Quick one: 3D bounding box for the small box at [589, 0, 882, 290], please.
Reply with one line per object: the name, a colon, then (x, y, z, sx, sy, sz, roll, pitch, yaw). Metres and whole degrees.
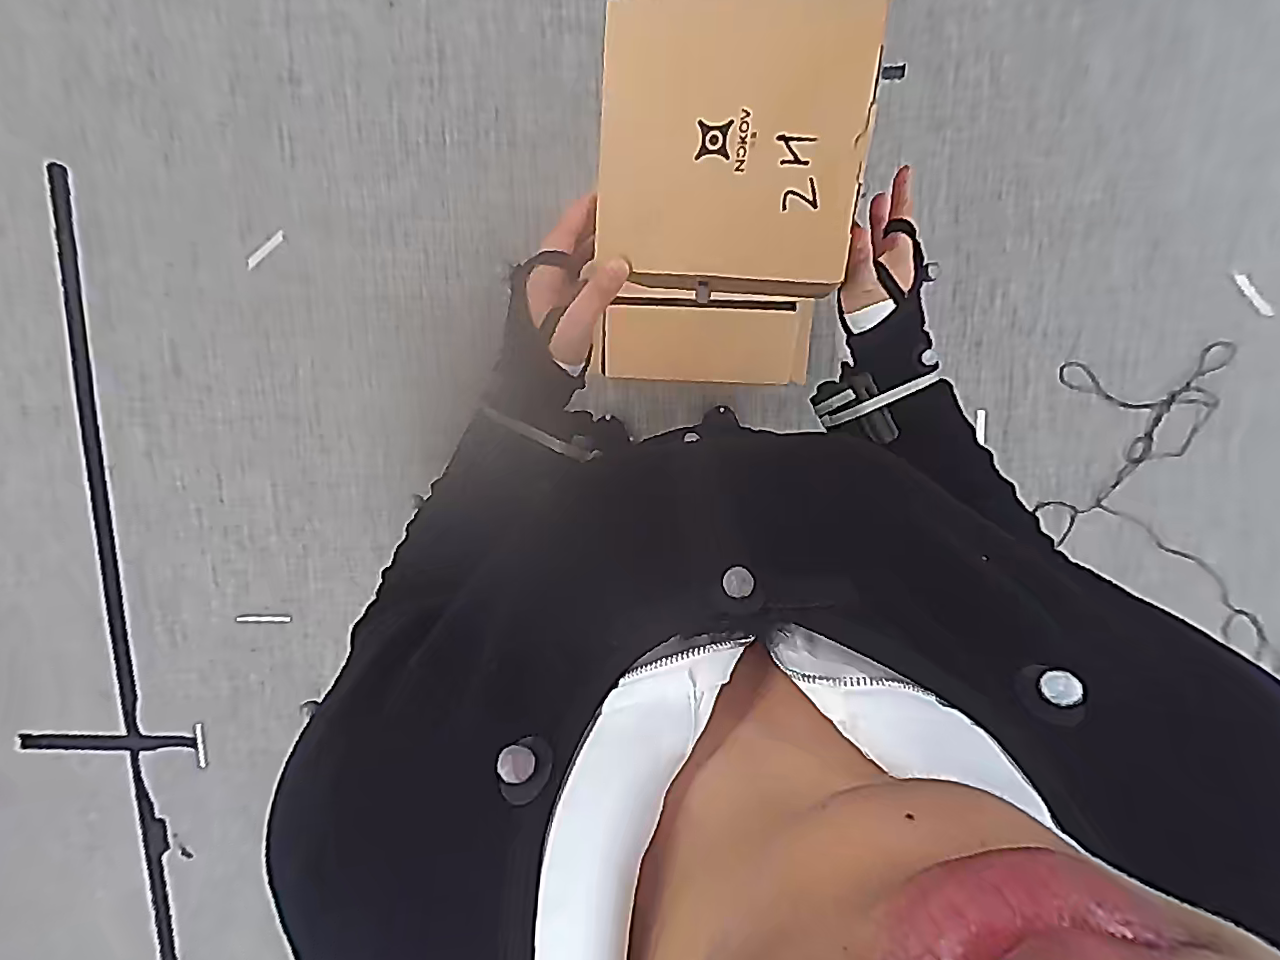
small box: (0.071, -0.244, 0.428, 0.179, 0.176, 0.168, 8, 108, 12)
